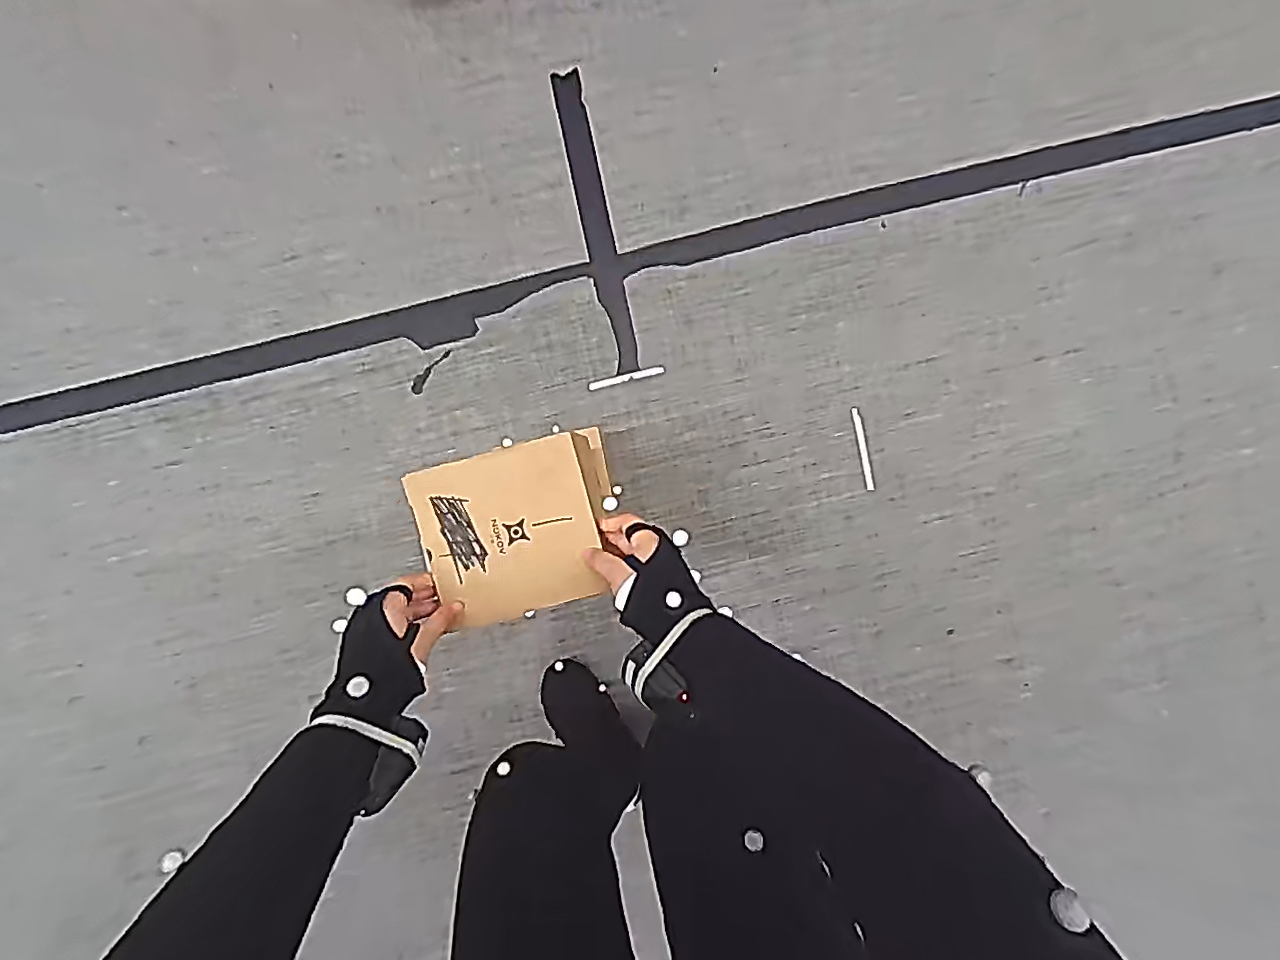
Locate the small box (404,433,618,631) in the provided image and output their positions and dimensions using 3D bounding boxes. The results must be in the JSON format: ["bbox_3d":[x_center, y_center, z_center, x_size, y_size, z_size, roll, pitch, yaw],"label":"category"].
[{"bbox_3d":[-0.130,0.050,0.615,0.179,0.176,0.168,-15,92,1],"label":"small box"}]

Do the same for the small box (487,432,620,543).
[{"bbox_3d":[-0.128,0.022,0.869,0.168,0.176,0.179,-11,93,-1],"label":"small box"}]
